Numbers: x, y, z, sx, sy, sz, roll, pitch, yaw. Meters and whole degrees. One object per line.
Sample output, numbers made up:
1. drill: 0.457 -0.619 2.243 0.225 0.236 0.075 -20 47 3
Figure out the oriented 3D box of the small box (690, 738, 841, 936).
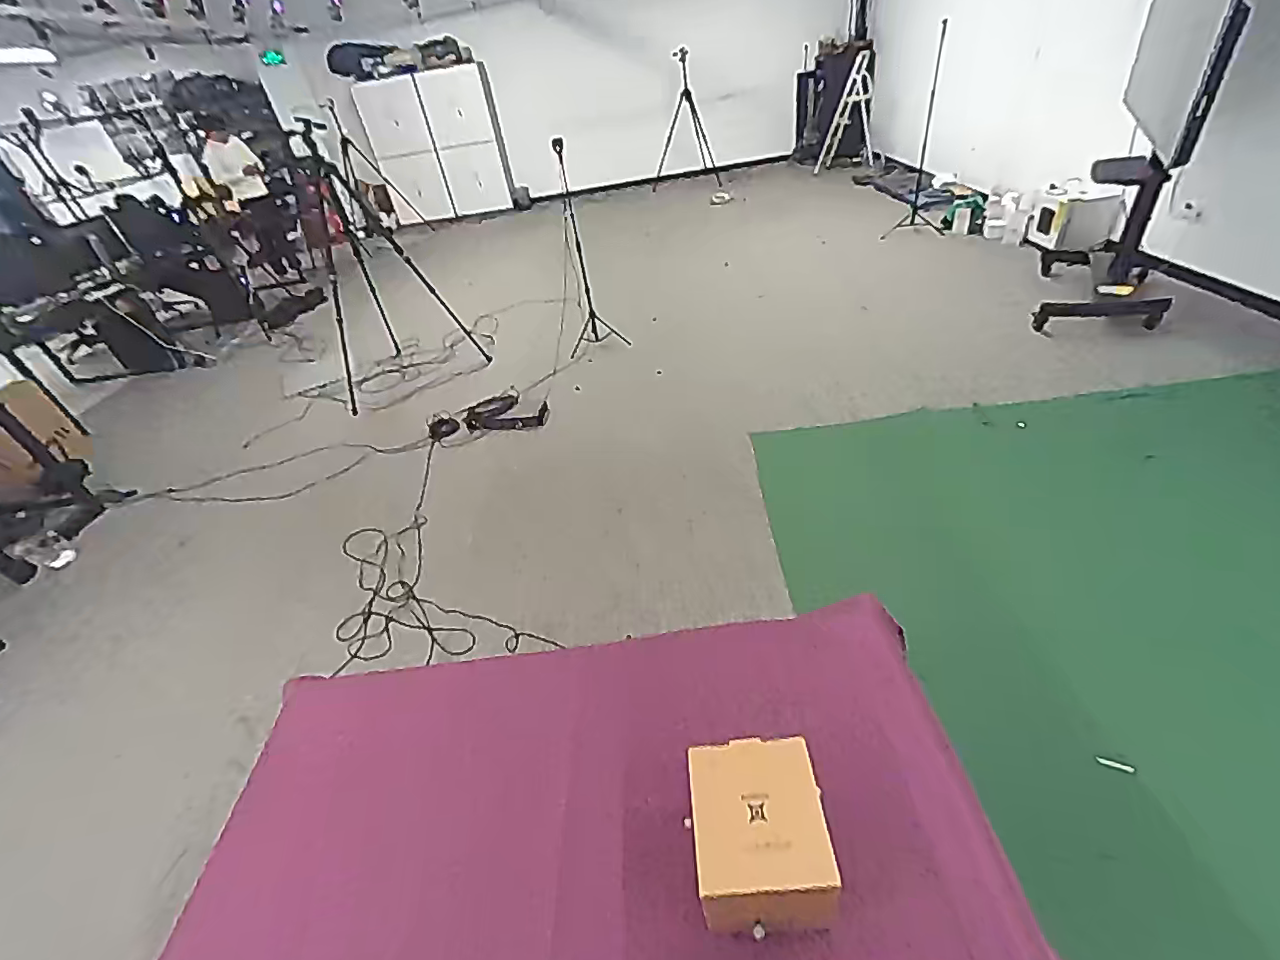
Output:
1. small box: 0.160 0.481 0.731 0.168 0.176 0.179 -8 37 6
